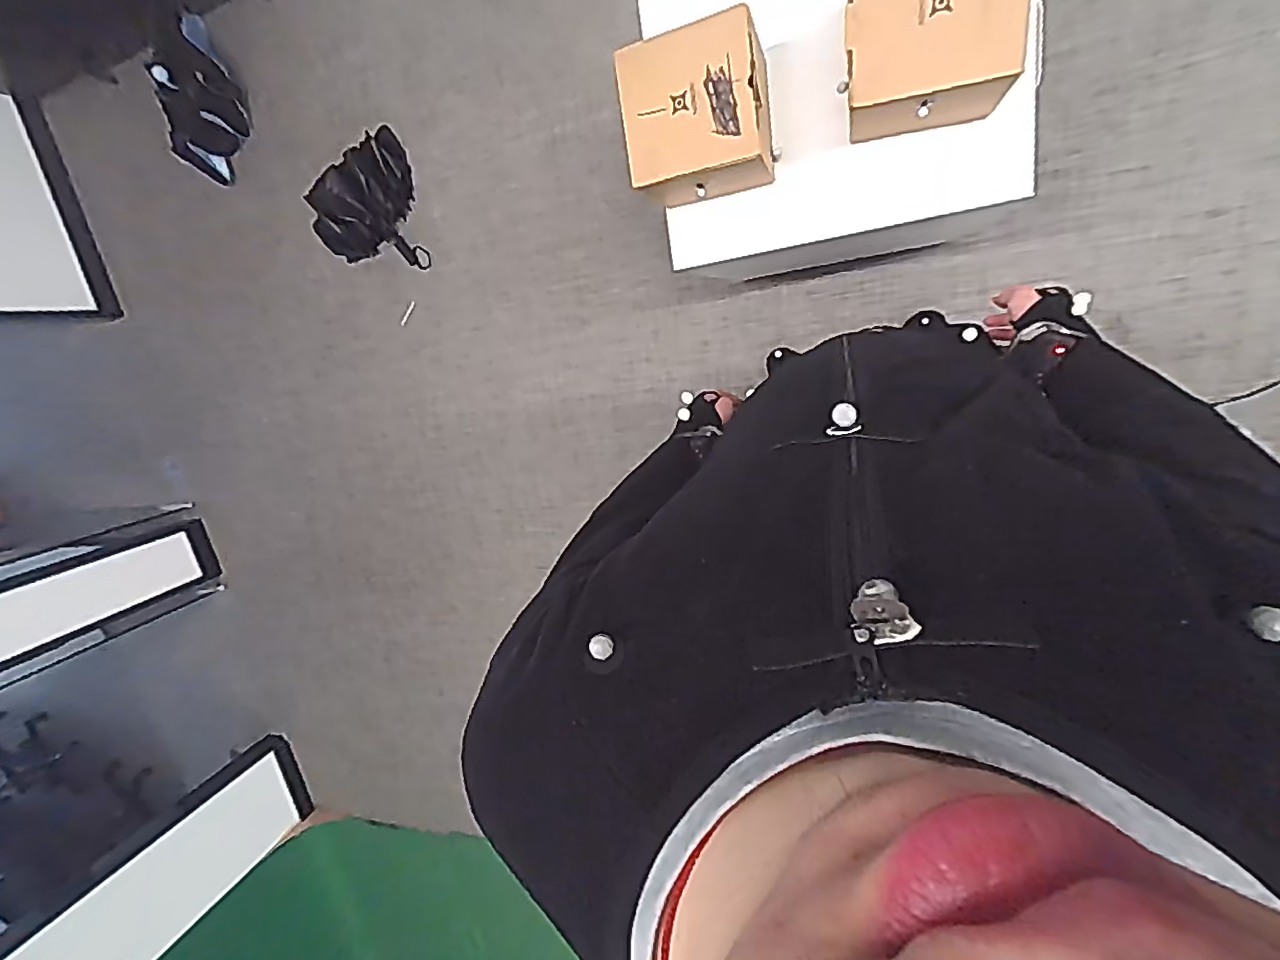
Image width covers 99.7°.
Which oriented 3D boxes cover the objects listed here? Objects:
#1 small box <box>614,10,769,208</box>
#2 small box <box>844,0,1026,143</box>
[{"bbox_3d":[0.083,-0.499,0.760,0.179,0.176,0.168,-2,105,22],"label":"small box"},{"bbox_3d":[0.343,-0.531,0.653,0.179,0.176,0.168,1,109,20],"label":"small box"}]
